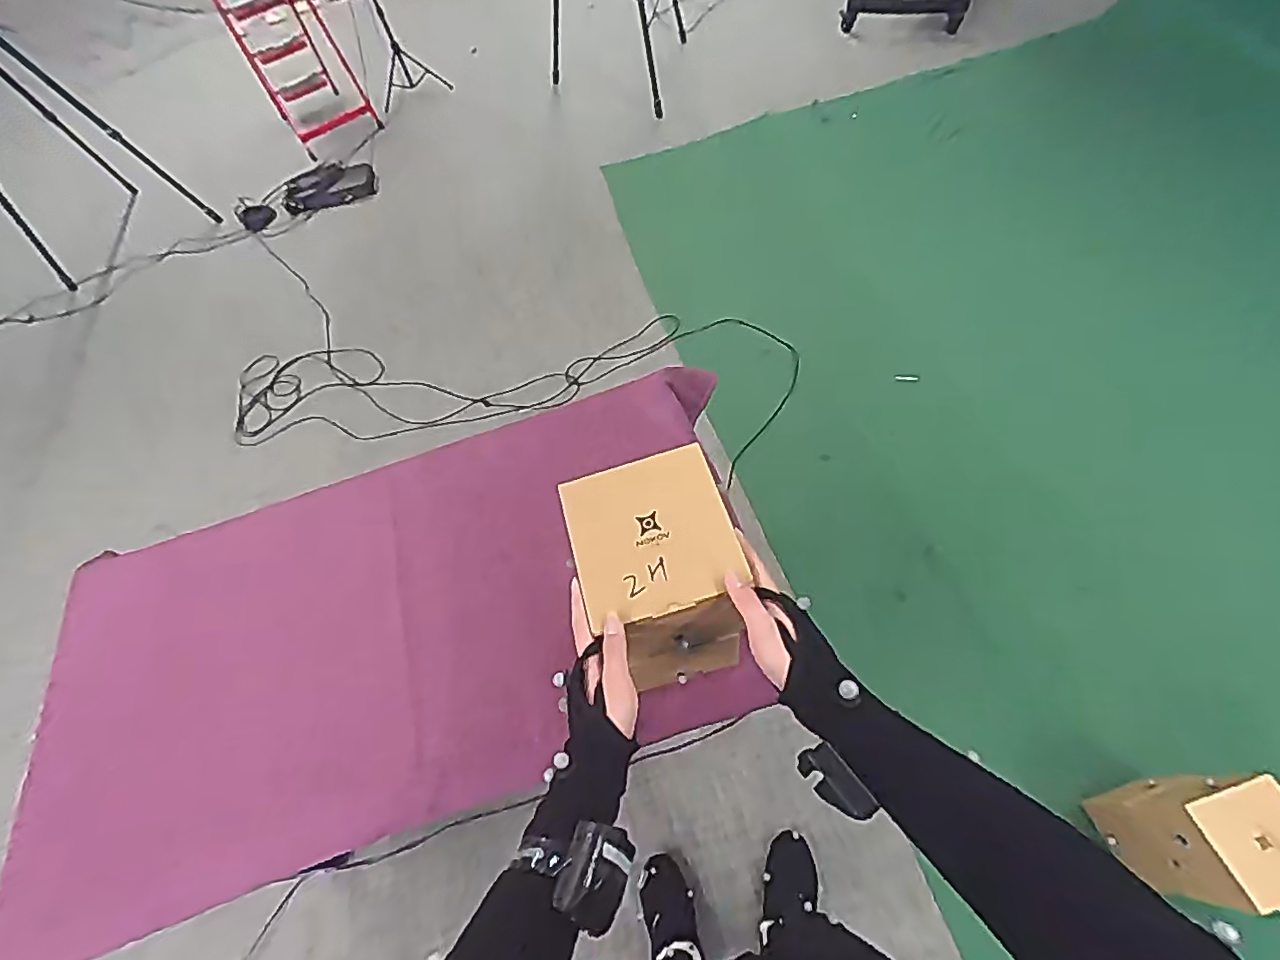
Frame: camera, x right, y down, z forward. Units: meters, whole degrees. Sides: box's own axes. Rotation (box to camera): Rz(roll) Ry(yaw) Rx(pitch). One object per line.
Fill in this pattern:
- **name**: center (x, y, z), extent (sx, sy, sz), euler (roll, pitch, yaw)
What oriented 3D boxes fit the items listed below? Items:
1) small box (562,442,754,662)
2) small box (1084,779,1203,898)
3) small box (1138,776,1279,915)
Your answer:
- **small box**: center (0.021, 0.089, 0.624), extent (0.168, 0.176, 0.179), euler (-17, 60, 0)
- **small box**: center (1.109, 0.745, 1.142), extent (0.179, 0.176, 0.168), euler (-19, 59, -1)
- **small box**: center (1.089, 0.669, 1.002), extent (0.179, 0.176, 0.168), euler (-18, 59, -3)
